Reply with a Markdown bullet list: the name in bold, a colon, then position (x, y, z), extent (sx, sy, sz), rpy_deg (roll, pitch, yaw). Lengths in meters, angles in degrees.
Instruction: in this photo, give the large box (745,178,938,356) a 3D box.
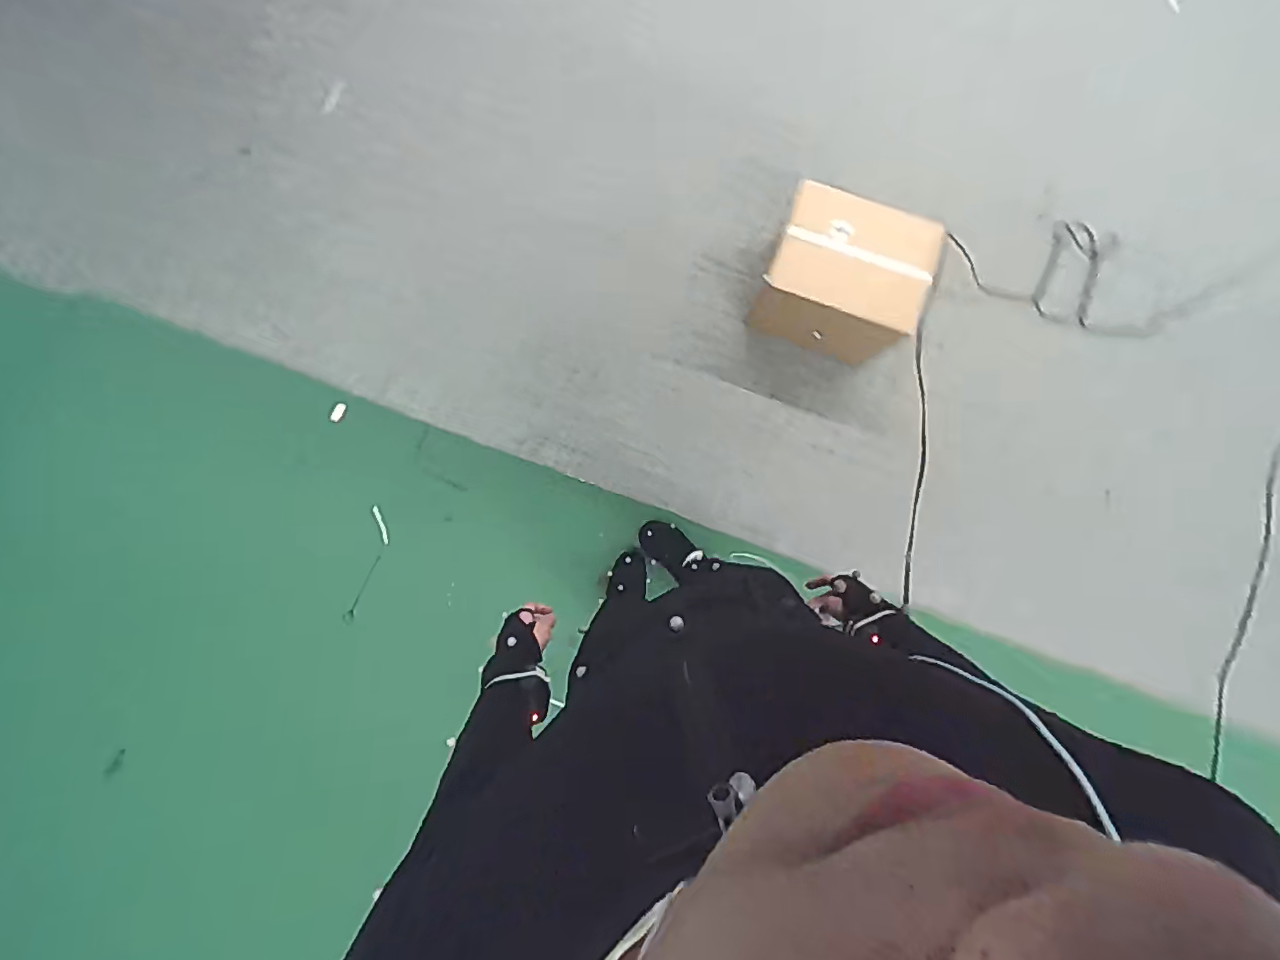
- **large box**: position (0.562, -0.596, 1.574), extent (0.408, 0.320, 0.320), rpy_deg (18, 85, 3)
